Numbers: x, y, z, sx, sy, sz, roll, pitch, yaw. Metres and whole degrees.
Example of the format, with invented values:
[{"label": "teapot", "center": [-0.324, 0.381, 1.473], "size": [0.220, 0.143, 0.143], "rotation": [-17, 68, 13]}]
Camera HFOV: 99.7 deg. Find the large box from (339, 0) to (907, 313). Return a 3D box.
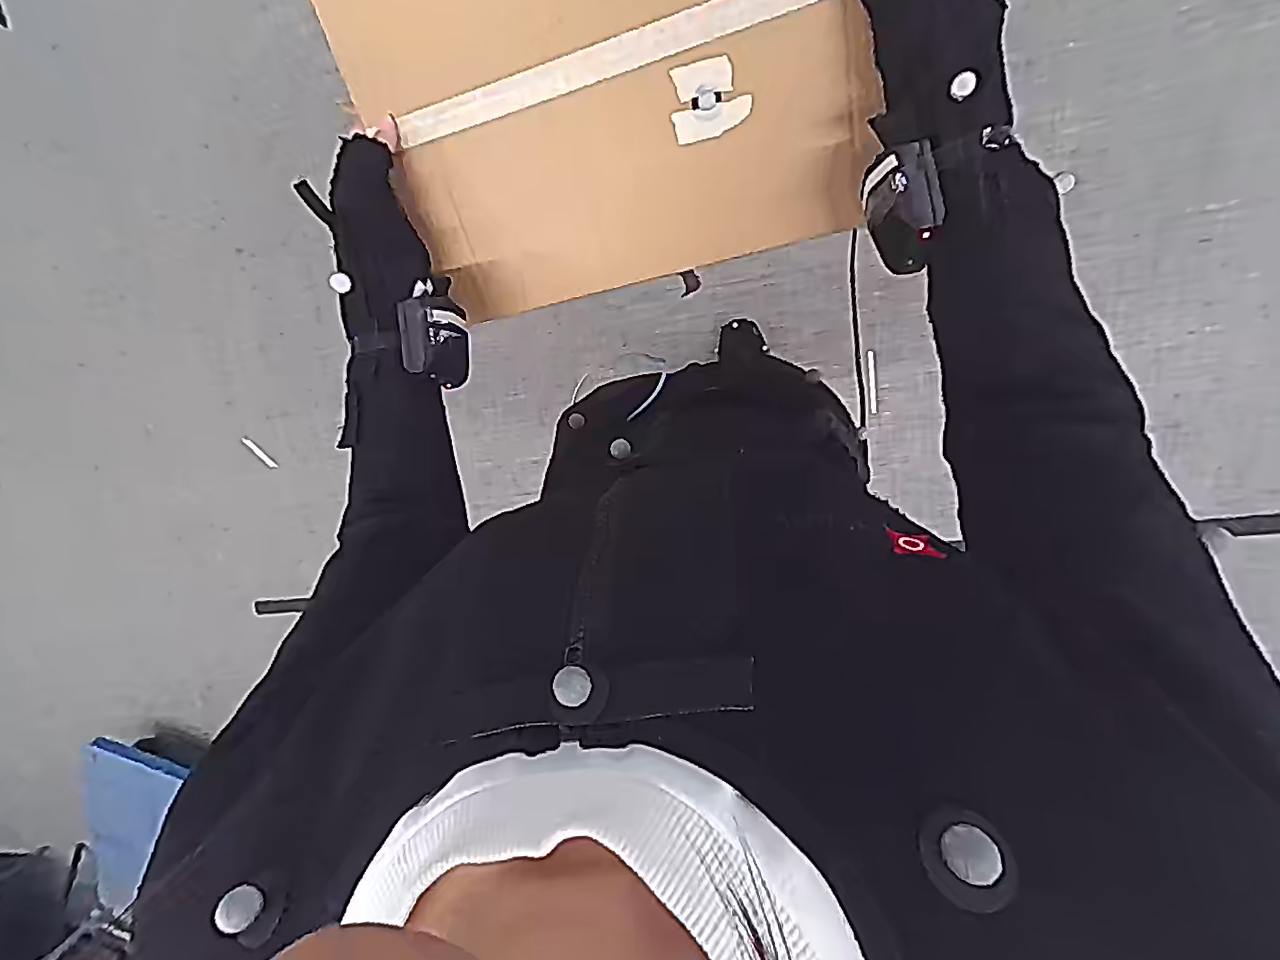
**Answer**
[{"label": "large box", "center": [-0.001, -0.394, 0.536], "size": [0.408, 0.320, 0.320], "rotation": [-10, 118, 12]}]
